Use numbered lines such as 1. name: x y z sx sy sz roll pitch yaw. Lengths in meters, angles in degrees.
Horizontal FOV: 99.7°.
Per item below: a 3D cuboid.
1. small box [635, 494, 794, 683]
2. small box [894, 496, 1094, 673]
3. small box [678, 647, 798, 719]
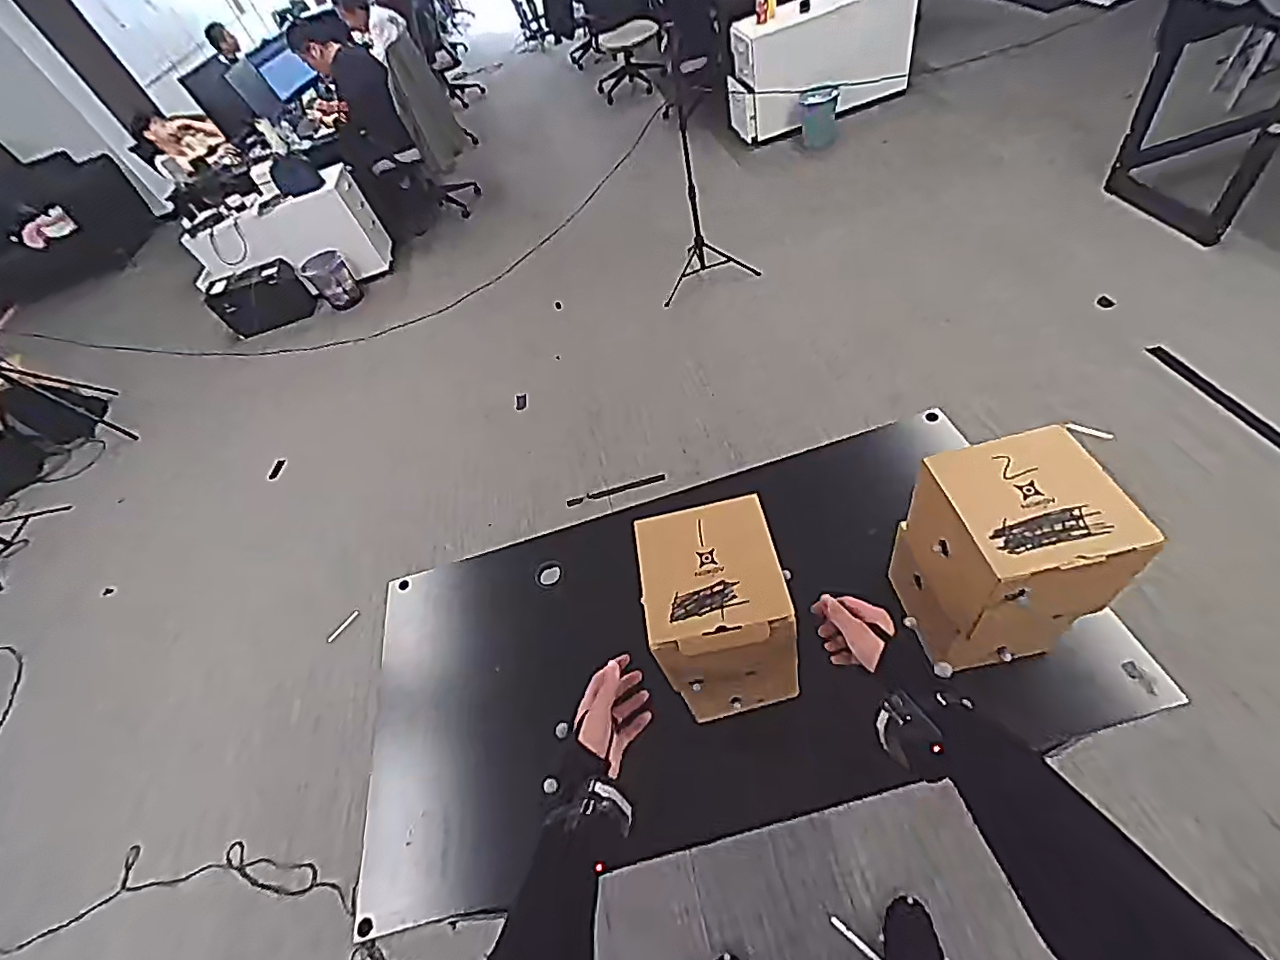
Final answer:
1. small box: 0.098 0.149 0.700 0.168 0.176 0.179 -13 50 6
2. small box: 0.490 0.155 0.787 0.168 0.176 0.179 -15 50 7
3. small box: 0.133 0.241 0.832 0.168 0.176 0.179 -17 50 3
